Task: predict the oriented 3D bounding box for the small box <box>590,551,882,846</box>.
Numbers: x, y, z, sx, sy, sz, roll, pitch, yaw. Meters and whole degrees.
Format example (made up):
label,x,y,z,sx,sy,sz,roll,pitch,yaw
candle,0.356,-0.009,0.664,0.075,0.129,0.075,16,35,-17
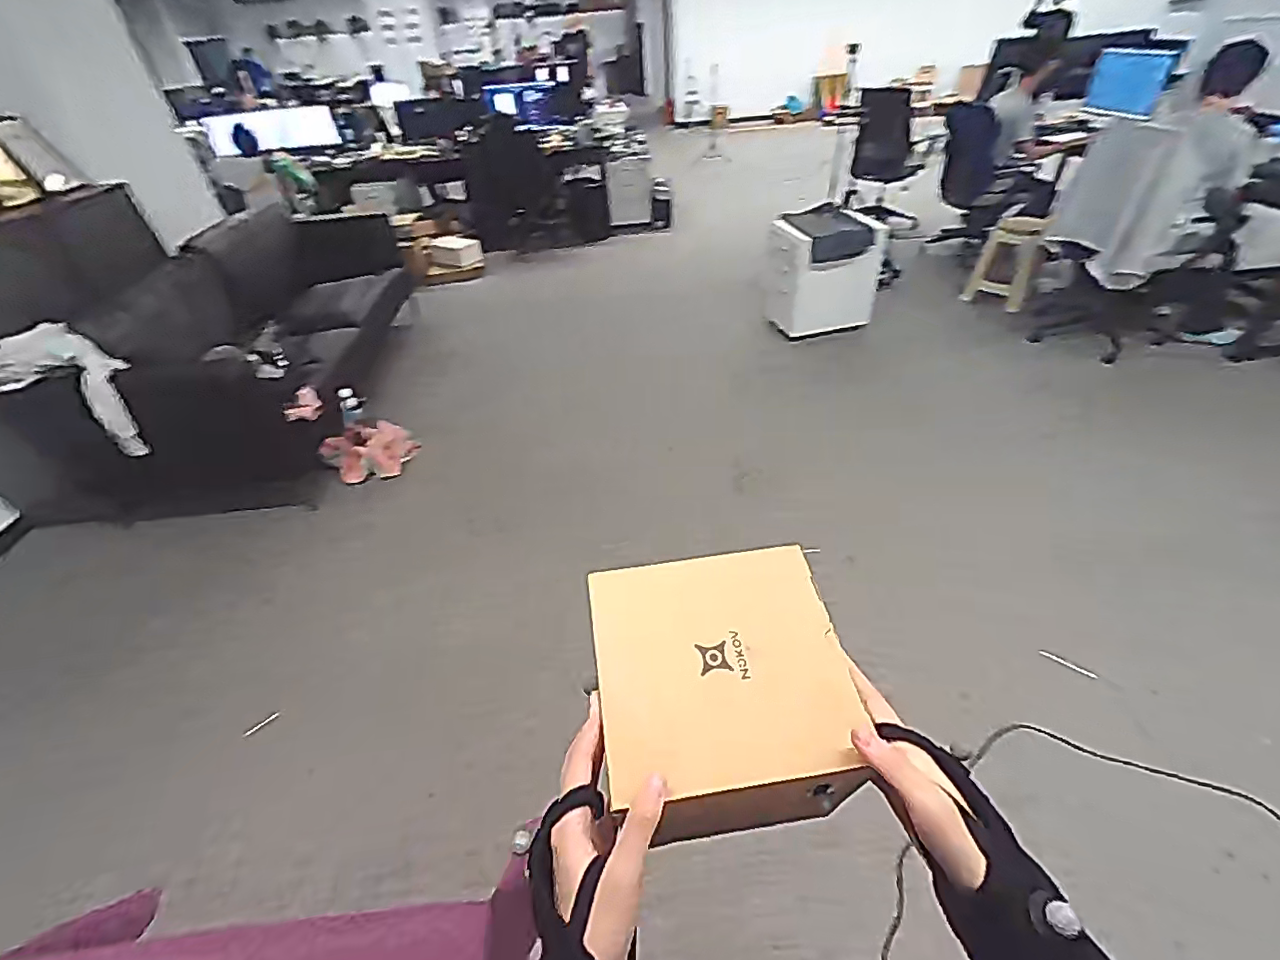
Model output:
label,x,y,z,sx,sy,sz,roll,pitch,yaw
small box,0.059,0.181,0.442,0.179,0.176,0.168,-7,49,-5
